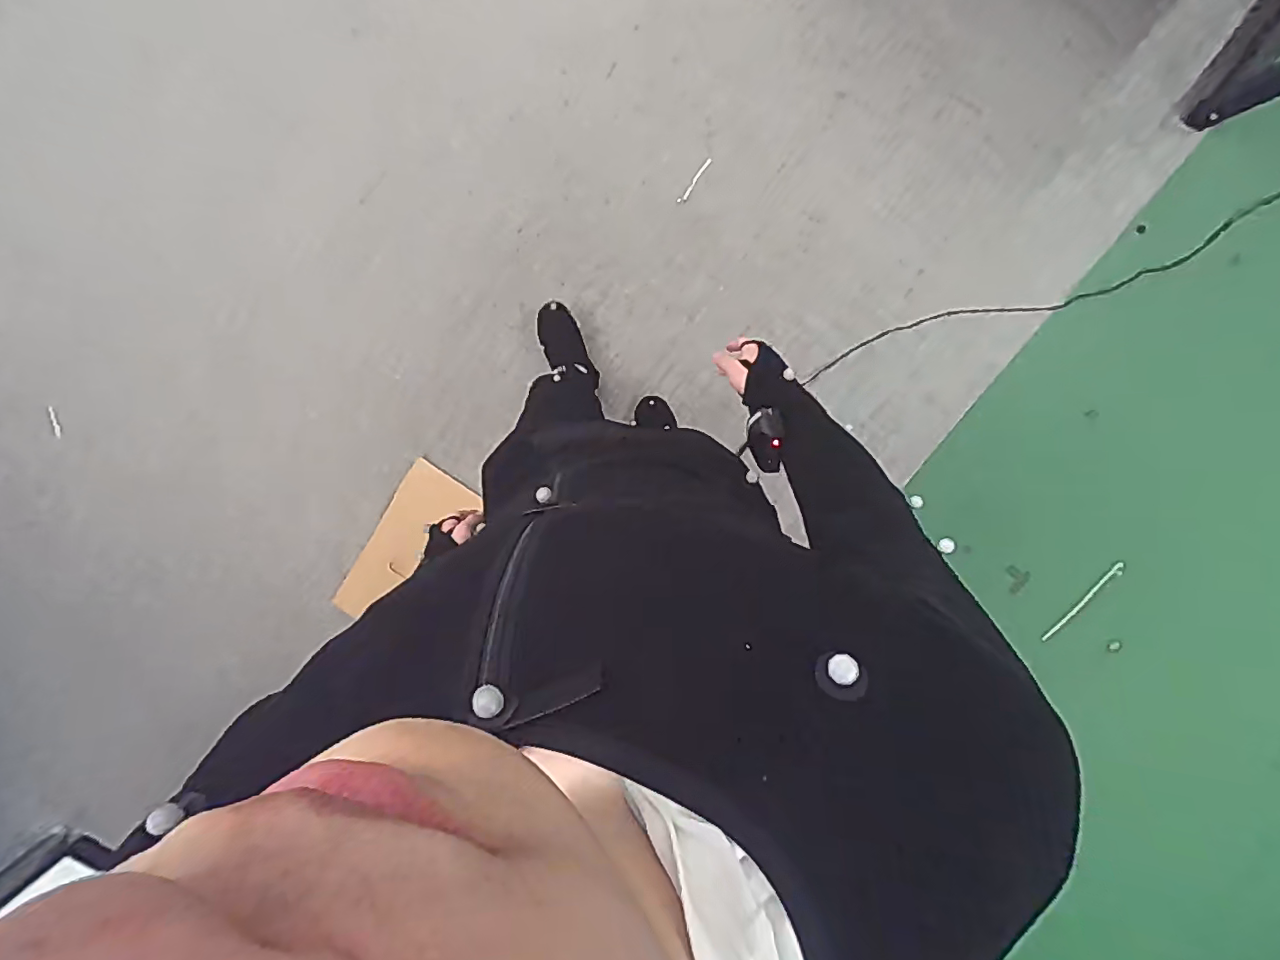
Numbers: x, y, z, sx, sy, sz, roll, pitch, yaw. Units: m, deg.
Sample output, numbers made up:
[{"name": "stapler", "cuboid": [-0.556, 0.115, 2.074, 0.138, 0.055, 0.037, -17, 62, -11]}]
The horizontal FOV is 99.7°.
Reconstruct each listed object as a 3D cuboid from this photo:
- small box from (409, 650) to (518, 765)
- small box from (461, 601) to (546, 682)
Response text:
[{"name": "small box", "cuboid": [-0.441, 0.572, 1.383, 0.179, 0.176, 0.168, 41, 102, -5]}, {"name": "small box", "cuboid": [-0.422, 0.514, 1.705, 0.179, 0.176, 0.168, 39, 103, -4]}]
